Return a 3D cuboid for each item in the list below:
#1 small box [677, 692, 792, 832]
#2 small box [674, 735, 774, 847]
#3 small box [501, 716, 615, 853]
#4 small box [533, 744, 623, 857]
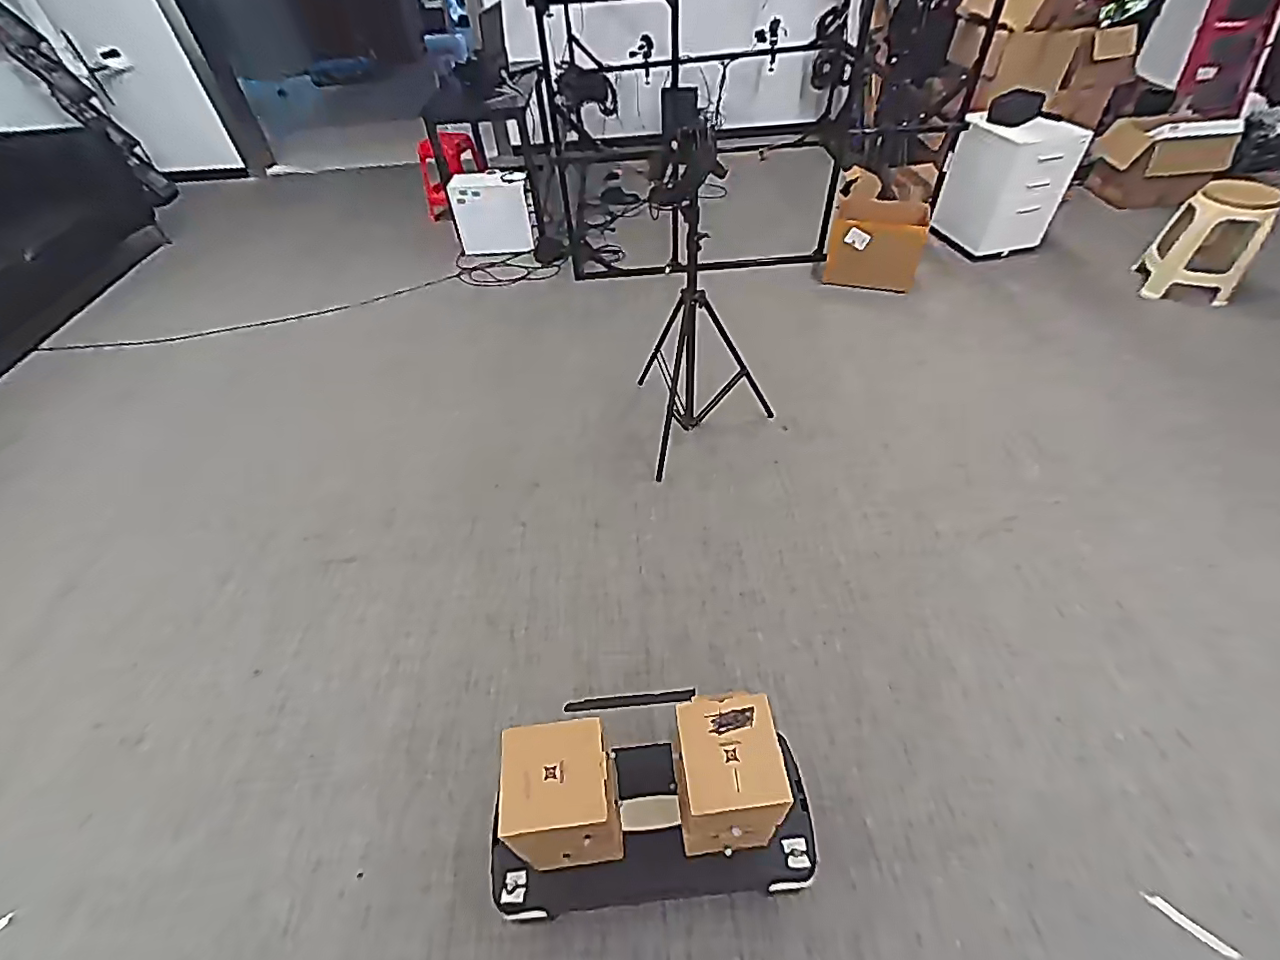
[{"bbox_3d":[0.158,0.507,0.971,0.168,0.176,0.179,-7,48,-1],"label":"small box"},{"bbox_3d":[0.158,0.622,1.089,0.168,0.176,0.179,-7,47,-1],"label":"small box"},{"bbox_3d":[-0.139,0.542,0.962,0.179,0.176,0.168,-8,46,-3],"label":"small box"},{"bbox_3d":[-0.130,0.653,1.083,0.179,0.176,0.168,-7,47,-2],"label":"small box"}]
